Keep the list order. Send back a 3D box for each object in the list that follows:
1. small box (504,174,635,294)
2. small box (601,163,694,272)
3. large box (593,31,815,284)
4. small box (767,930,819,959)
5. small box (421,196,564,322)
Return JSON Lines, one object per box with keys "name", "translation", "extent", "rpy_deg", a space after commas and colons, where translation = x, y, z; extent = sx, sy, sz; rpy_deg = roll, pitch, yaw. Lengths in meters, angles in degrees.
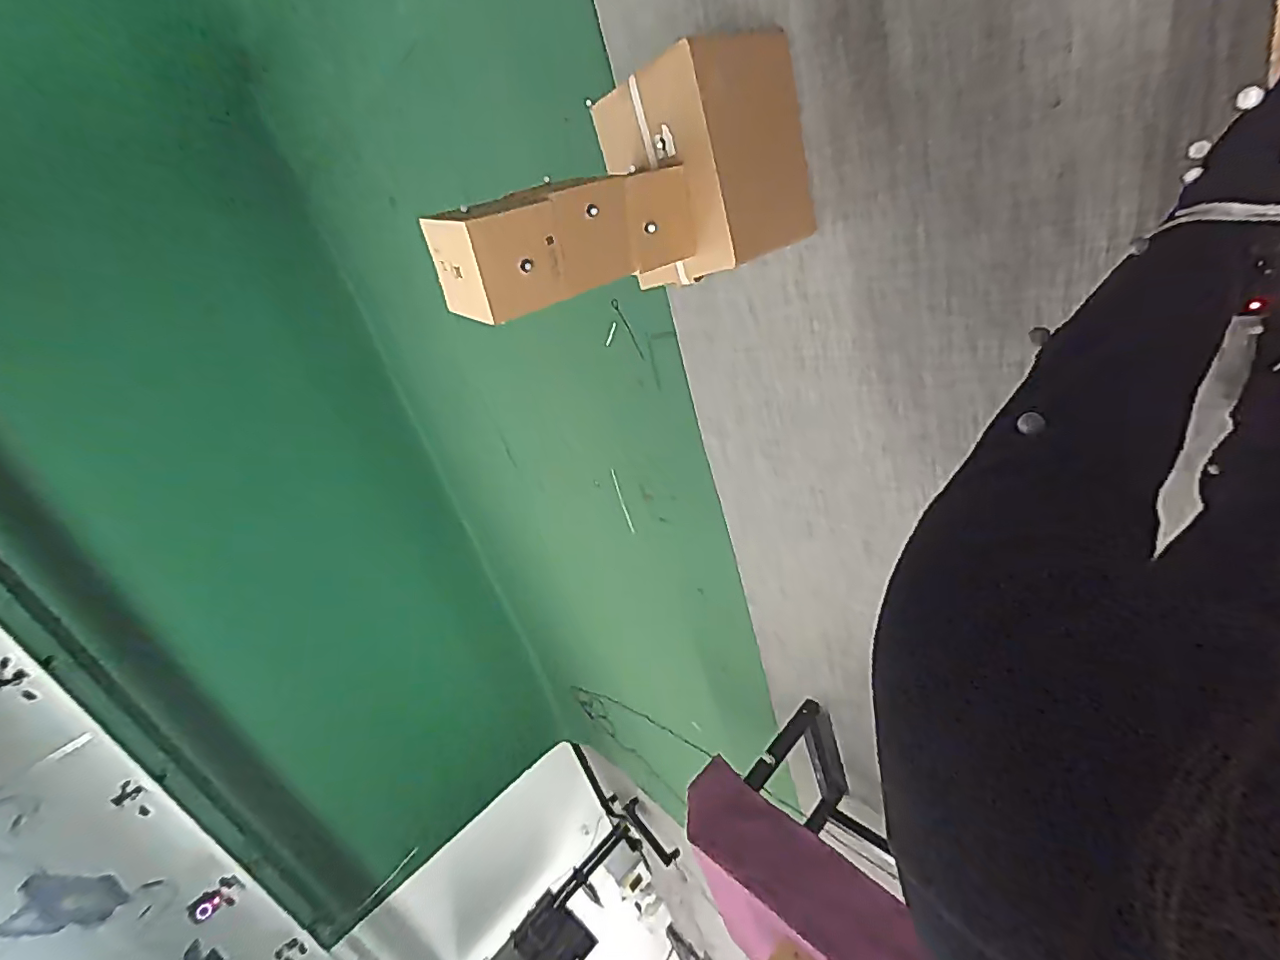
{"name": "small box", "translation": [-0.129, -0.480, 1.041], "extent": [0.168, 0.176, 0.179], "rpy_deg": [27, 139, 40]}
{"name": "small box", "translation": [-0.007, -0.548, 1.125], "extent": [0.168, 0.176, 0.179], "rpy_deg": [23, 136, 43]}
{"name": "large box", "translation": [0.155, -0.706, 1.226], "extent": [0.320, 0.320, 0.408], "rpy_deg": [11, 126, 49]}
{"name": "small box", "translation": [0.452, 1.451, 1.540], "extent": [0.168, 0.176, 0.179], "rpy_deg": [10, 126, 49]}
{"name": "small box", "translation": [-0.251, -0.400, 0.965], "extent": [0.179, 0.176, 0.168], "rpy_deg": [27, 138, 40]}
